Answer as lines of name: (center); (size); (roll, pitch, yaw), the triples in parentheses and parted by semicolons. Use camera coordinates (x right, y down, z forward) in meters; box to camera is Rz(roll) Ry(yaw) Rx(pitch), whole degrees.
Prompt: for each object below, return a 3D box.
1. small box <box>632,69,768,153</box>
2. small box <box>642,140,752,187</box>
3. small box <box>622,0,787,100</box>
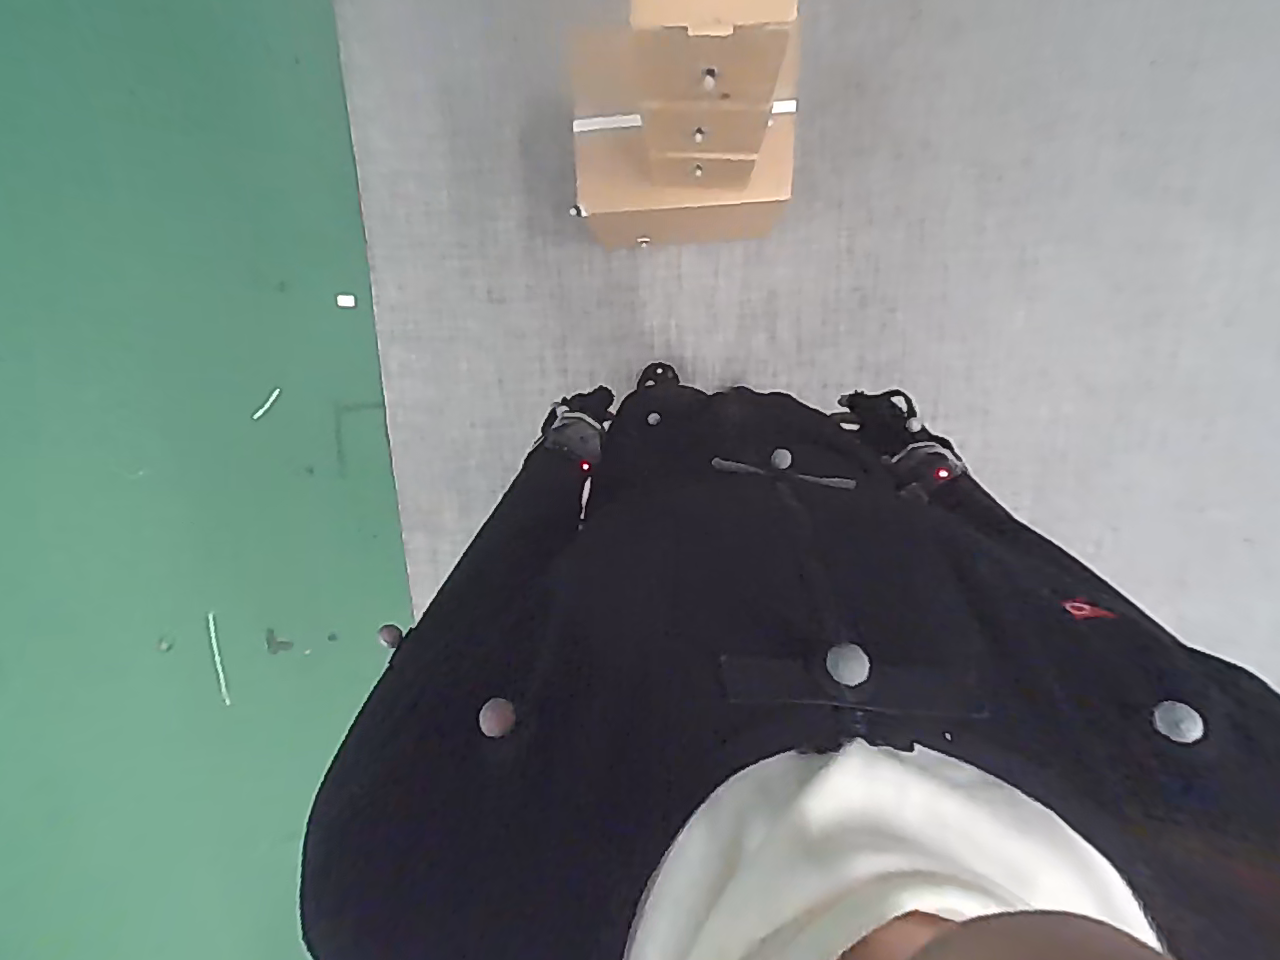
small box: (0.087, -0.578, 0.757); (0.179, 0.176, 0.168); (4, 104, 5)
small box: (0.100, -0.612, 0.917); (0.179, 0.176, 0.168); (4, 104, 3)
small box: (0.076, -0.549, 0.596); (0.168, 0.176, 0.179); (4, 105, 5)
